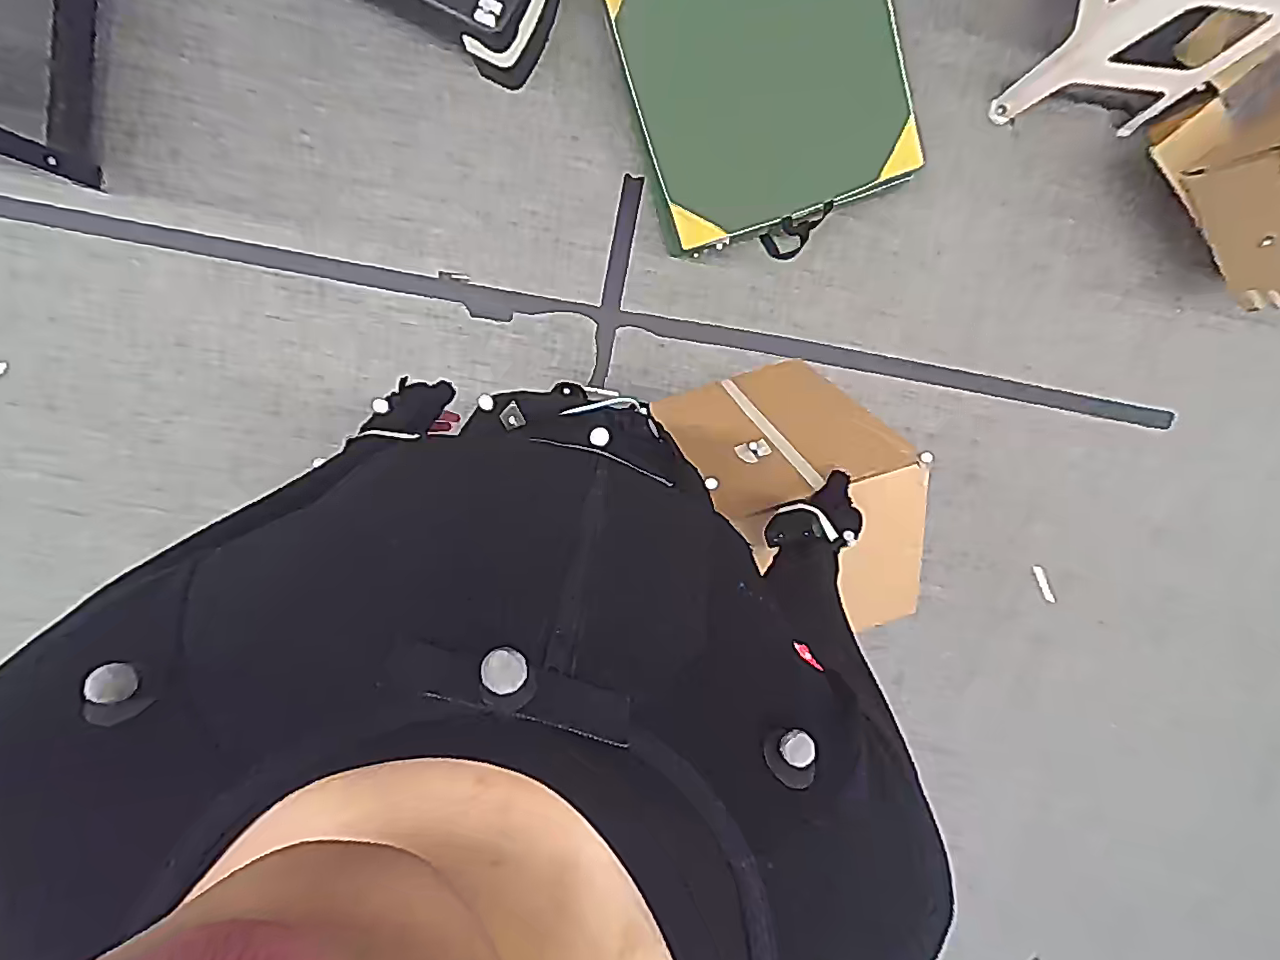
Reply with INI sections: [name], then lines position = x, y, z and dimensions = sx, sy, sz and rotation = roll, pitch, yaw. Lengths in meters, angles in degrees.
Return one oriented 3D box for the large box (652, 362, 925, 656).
[large box]
position = 0.238, 0.033, 0.986
dimensions = 0.320, 0.408, 0.320
rotation = -17, 126, -2
